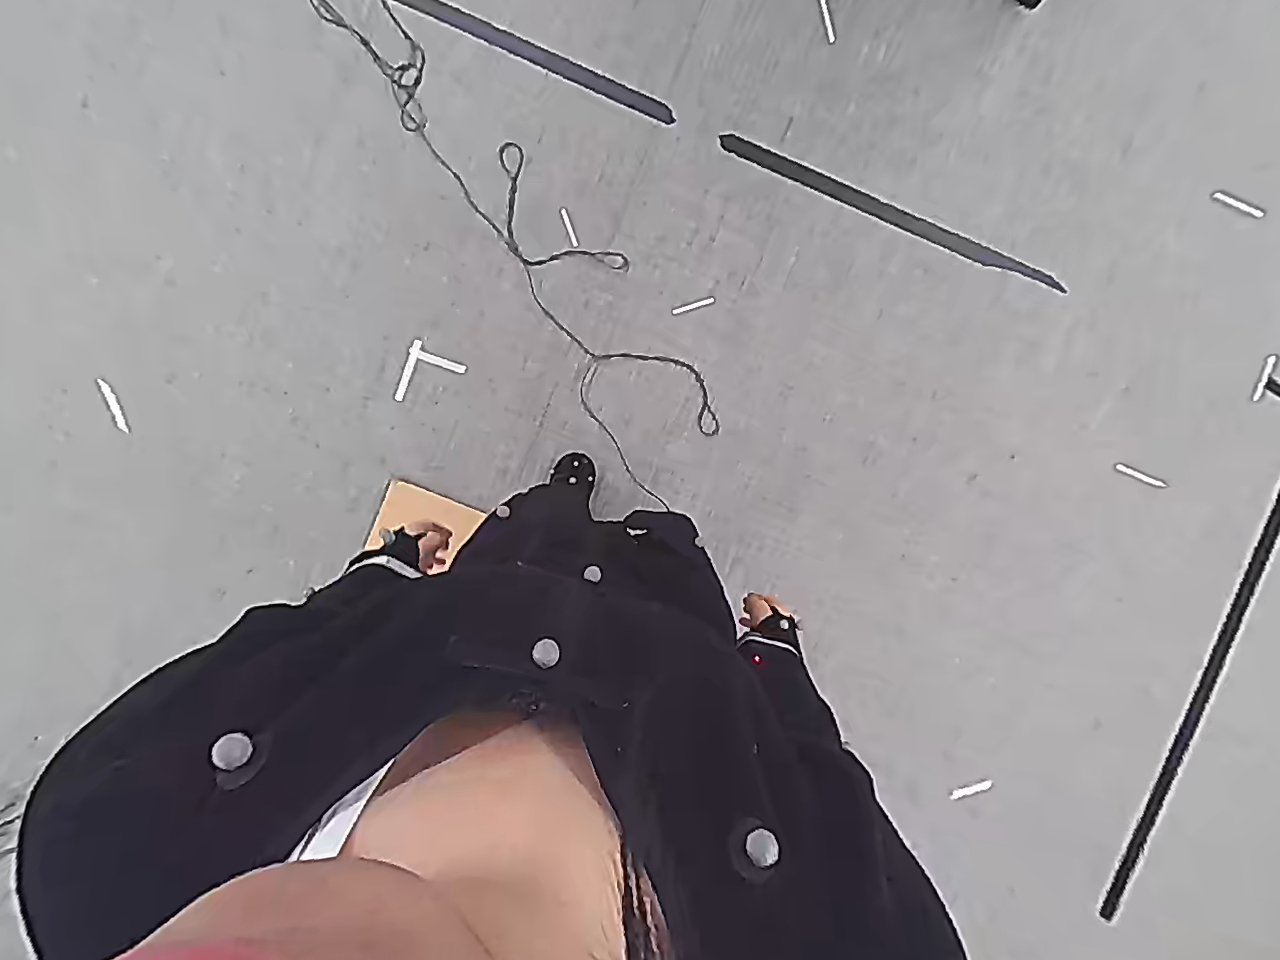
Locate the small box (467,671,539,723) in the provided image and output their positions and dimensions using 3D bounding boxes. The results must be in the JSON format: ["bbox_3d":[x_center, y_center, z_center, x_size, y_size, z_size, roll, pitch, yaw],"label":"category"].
[{"bbox_3d":[-0.368,0.624,1.410,0.168,0.176,0.179,15,91,-2],"label":"small box"}]
